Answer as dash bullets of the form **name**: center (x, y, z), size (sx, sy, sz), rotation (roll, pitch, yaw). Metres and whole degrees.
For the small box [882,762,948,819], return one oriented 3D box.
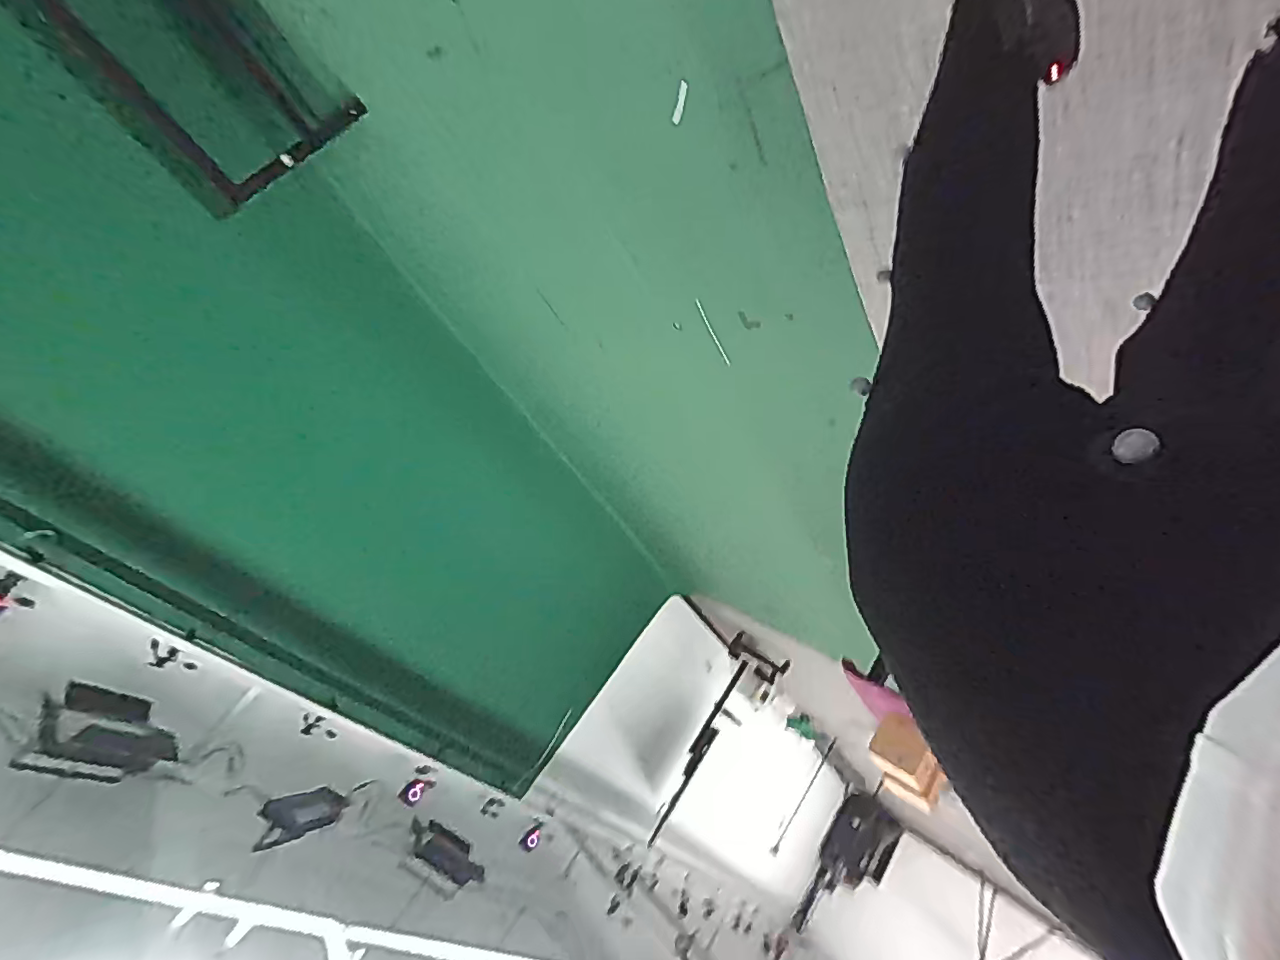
- **small box**: center (1.067, 1.159, 2.087), size (0.168, 0.176, 0.179), rotation (15, 148, 47)

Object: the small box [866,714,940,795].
- **small box**: center (0.925, 0.956, 1.892), size (0.168, 0.176, 0.179), rotation (16, 153, 46)

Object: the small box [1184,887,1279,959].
- **small box**: center (1.452, 1.131, 1.304), size (0.168, 0.176, 0.179), rotation (16, 152, 51)
